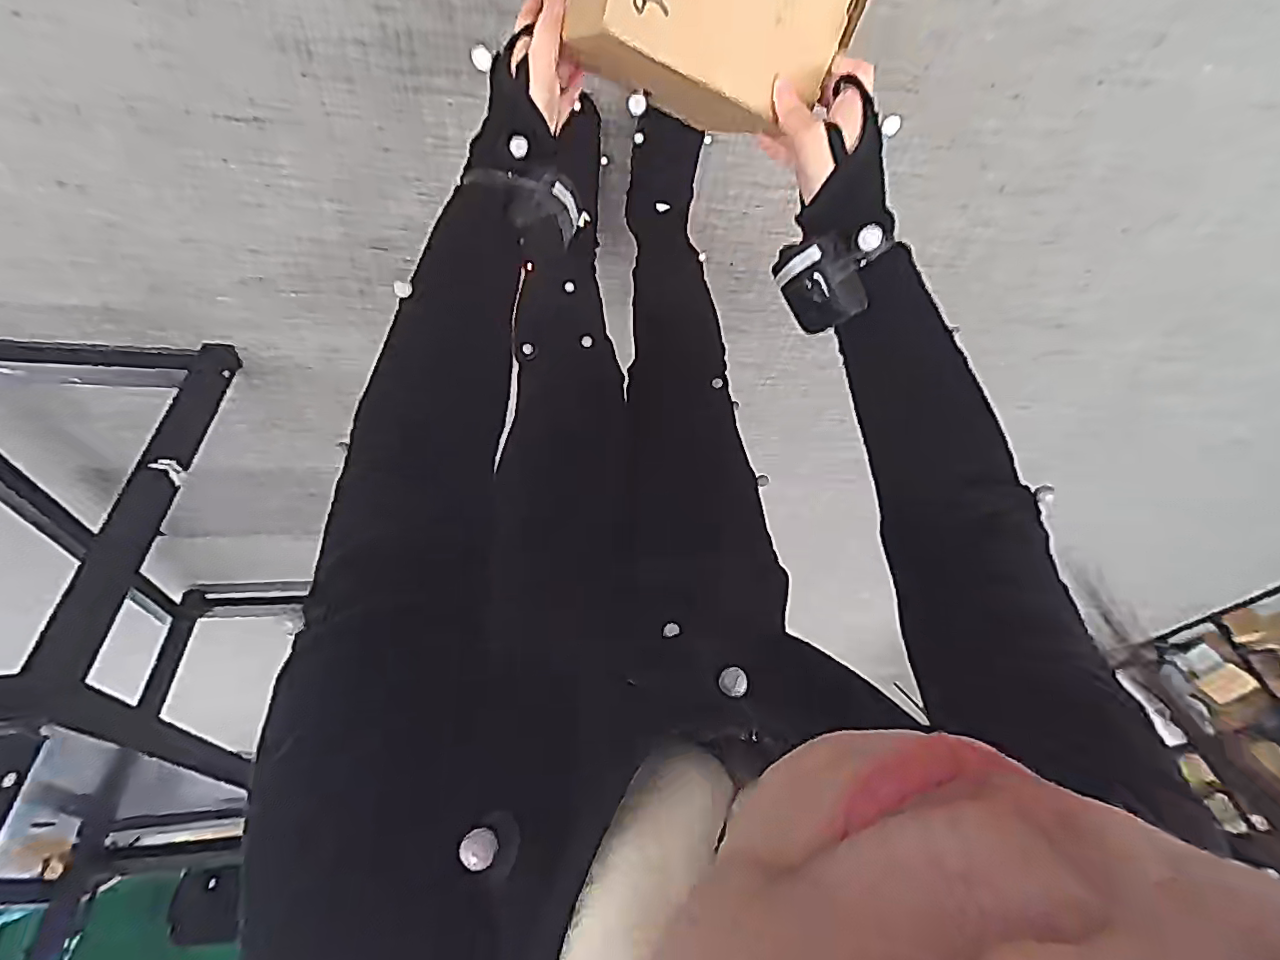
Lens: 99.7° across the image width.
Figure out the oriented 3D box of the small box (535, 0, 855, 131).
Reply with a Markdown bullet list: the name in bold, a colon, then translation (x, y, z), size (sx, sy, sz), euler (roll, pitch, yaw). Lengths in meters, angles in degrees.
- **small box**: translation (0.045, -0.384, 0.392), size (0.179, 0.176, 0.168), euler (4, 120, -31)
